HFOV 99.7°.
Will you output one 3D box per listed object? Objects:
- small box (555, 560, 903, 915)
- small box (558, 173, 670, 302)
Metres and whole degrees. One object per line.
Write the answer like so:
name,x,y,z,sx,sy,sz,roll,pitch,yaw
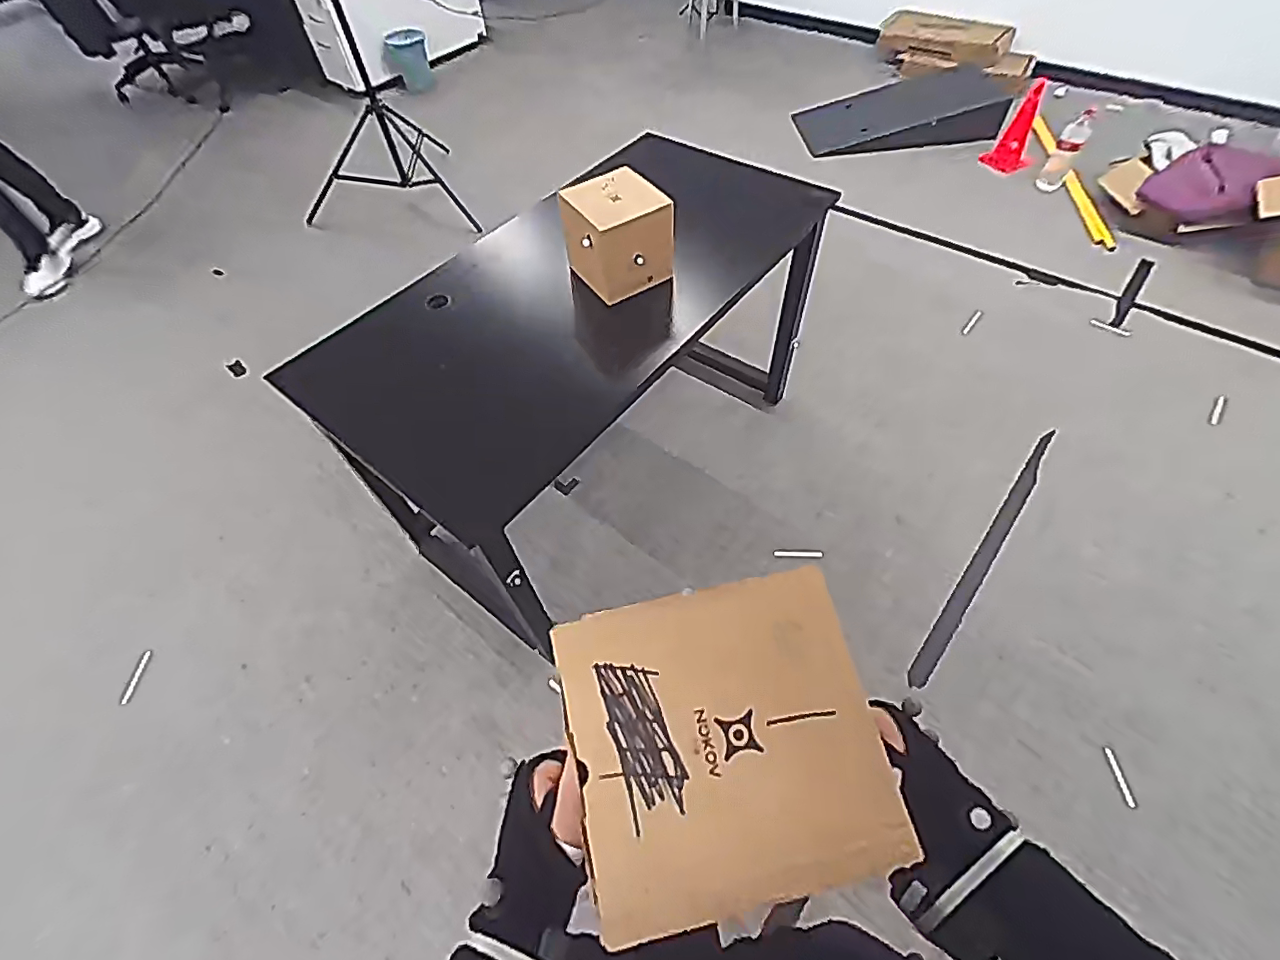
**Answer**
small box,0.048,0.172,0.397,0.179,0.176,0.168,-12,70,-4
small box,-0.048,-0.497,1.128,0.168,0.176,0.179,-29,59,-16
